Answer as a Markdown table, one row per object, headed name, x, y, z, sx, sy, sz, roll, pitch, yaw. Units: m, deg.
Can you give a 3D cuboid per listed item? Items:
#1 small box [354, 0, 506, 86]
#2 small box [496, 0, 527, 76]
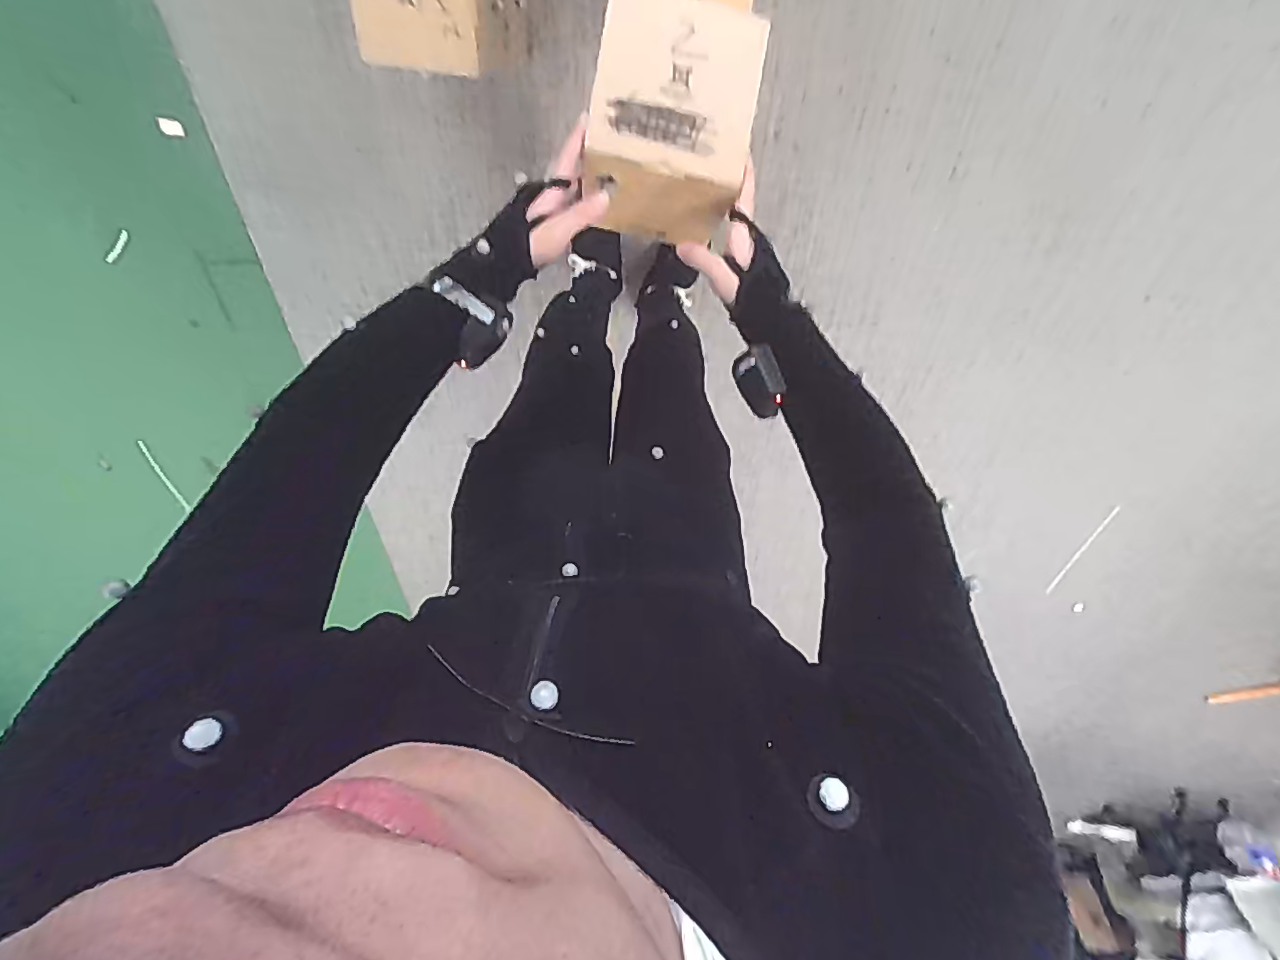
| name | x | y | z | sx | sy | sz | roll | pitch | yaw |
| --- | --- | --- | --- | --- | --- | --- | --- | --- | --- |
| small box | -0.308 | -0.710 | 0.811 | 0.179 | 0.176 | 0.168 | 5 | 131 | -3 |
| small box | -0.294 | -0.818 | 0.935 | 0.179 | 0.176 | 0.168 | 4 | 131 | -2 |
